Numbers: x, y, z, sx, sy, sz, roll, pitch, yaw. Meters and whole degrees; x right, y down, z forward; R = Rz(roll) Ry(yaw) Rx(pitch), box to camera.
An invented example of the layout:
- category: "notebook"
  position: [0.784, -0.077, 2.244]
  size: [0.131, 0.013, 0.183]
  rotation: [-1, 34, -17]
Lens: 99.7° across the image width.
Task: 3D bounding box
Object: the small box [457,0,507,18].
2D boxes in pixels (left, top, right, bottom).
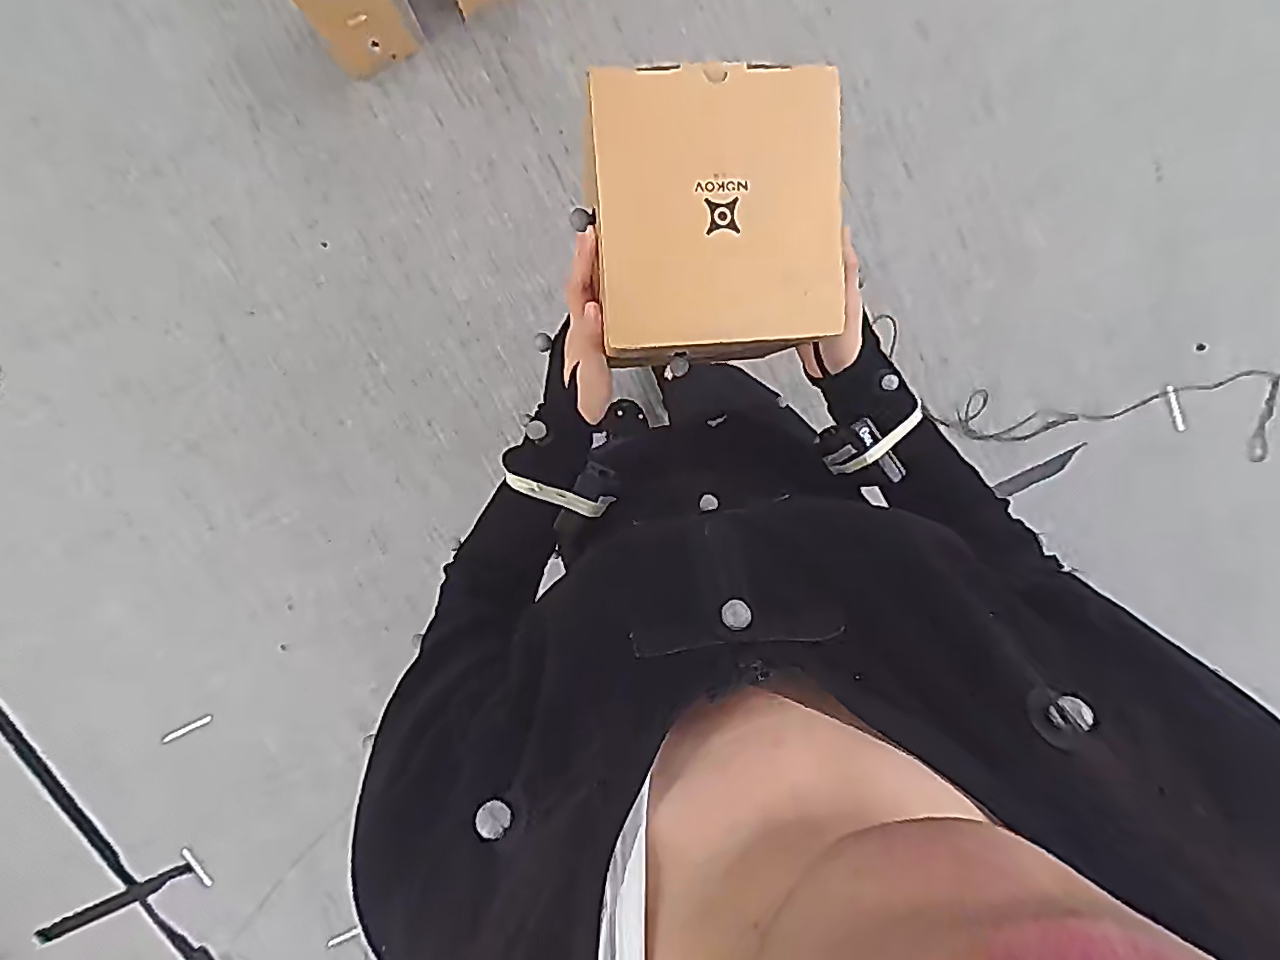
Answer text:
- category: "small box"
  position: [-0.365, -1.188, 1.191]
  size: [0.179, 0.176, 0.168]
  rotation: [-26, 100, 3]

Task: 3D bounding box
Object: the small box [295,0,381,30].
- category: "small box"
  position: [-0.622, -1.031, 1.037]
  size: [0.179, 0.176, 0.168]
  rotation: [-26, 98, 2]

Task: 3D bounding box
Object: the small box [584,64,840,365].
- category: "small box"
  position: [0.044, -0.188, 0.435]
  size: [0.168, 0.176, 0.179]
  rotation: [-5, 96, -6]
